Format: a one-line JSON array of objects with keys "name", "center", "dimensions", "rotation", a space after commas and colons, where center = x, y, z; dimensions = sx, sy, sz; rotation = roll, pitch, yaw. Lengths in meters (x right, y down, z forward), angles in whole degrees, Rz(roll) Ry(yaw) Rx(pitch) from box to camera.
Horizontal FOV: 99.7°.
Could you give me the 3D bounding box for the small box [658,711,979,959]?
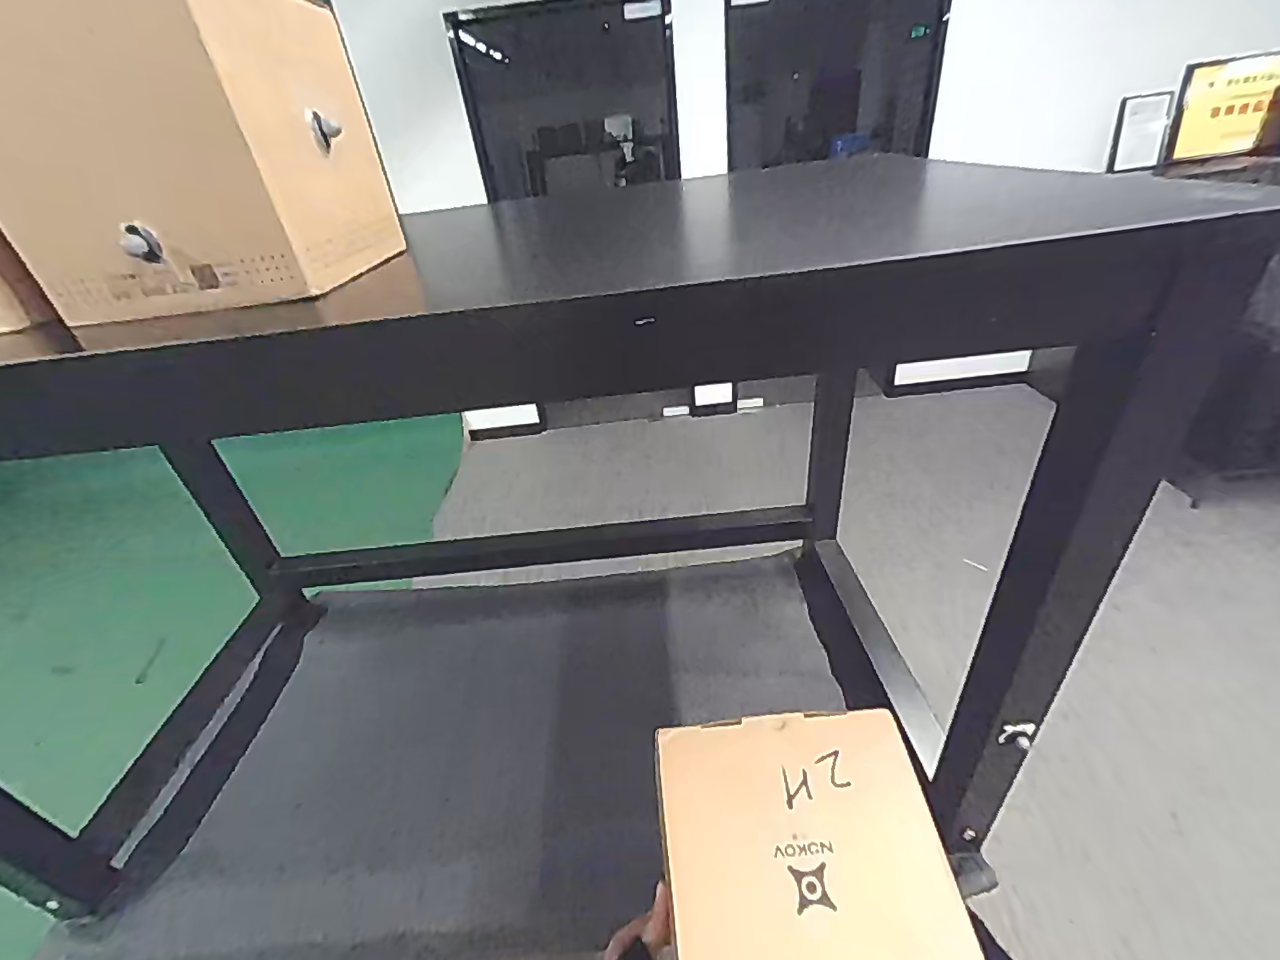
[{"name": "small box", "center": [0.103, 0.283, 0.382], "dimensions": [0.168, 0.176, 0.179], "rotation": [-4, 50, -2]}]
